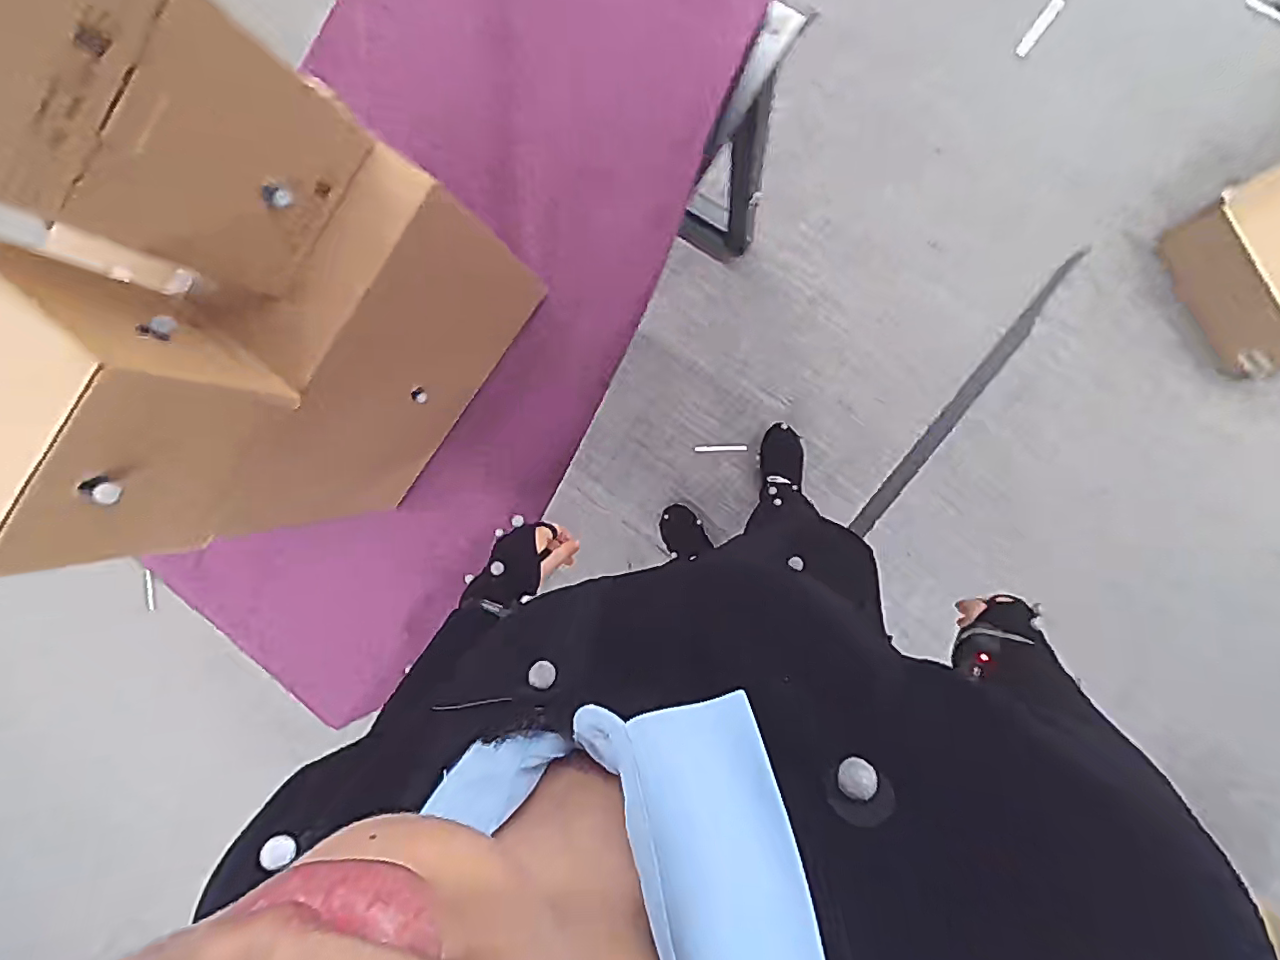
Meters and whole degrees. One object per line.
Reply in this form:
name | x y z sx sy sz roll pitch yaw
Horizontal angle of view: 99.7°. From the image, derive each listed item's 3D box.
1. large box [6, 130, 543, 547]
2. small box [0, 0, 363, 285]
large box | -0.385 -0.191 0.652 0.320 0.320 0.408 37 98 7
small box | -0.355 -0.272 0.395 0.179 0.176 0.168 37 98 6
